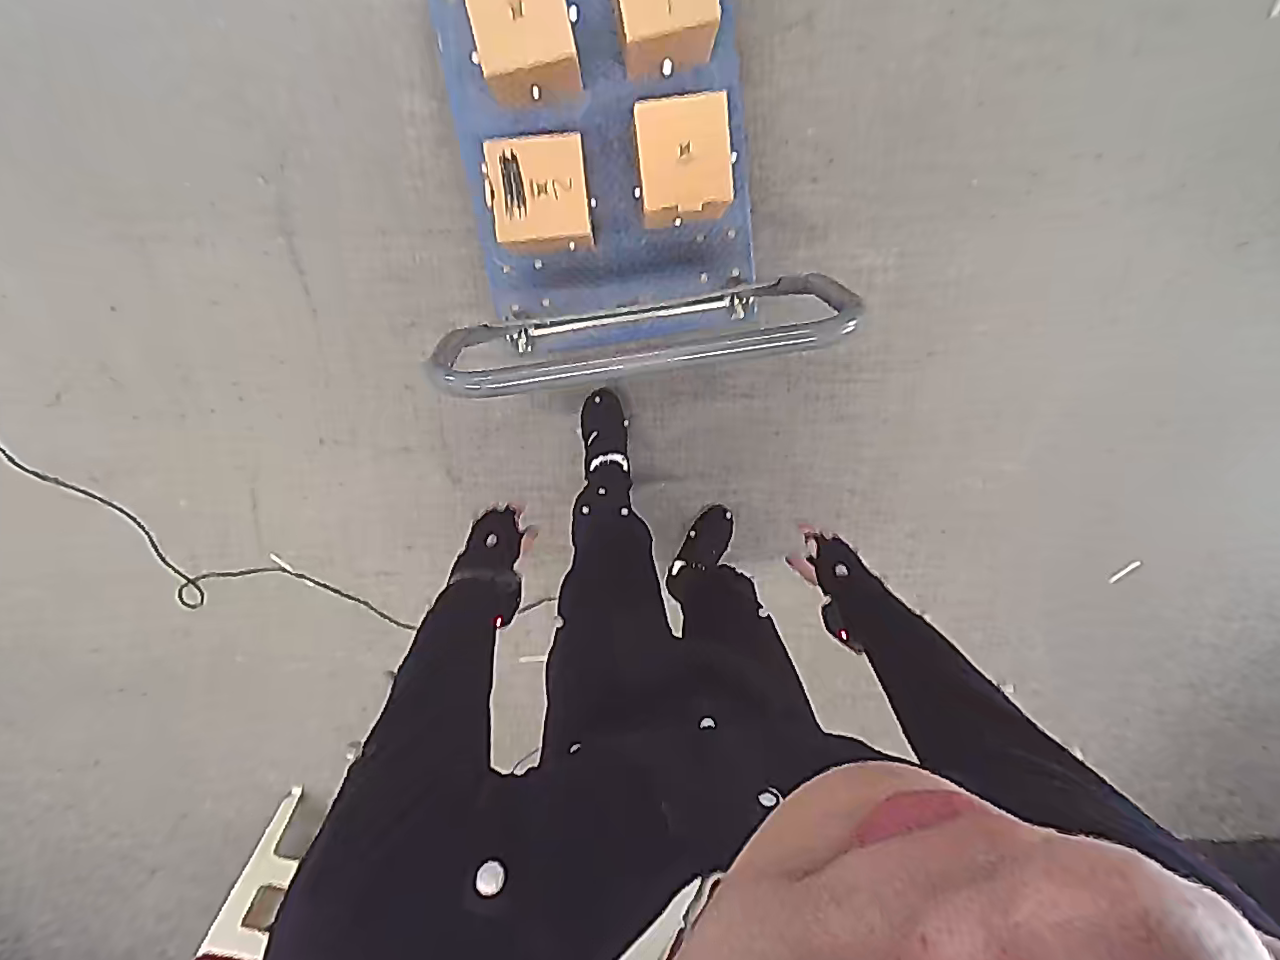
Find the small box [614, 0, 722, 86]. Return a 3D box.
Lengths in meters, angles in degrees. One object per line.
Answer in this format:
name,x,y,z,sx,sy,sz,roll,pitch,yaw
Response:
small box,0.042,-0.857,0.974,0.168,0.176,0.179,-11,107,3

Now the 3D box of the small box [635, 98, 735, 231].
small box,0.082,-0.600,1.048,0.168,0.176,0.179,-8,106,1

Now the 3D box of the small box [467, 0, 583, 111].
small box,-0.204,-0.805,0.984,0.168,0.176,0.179,-12,105,1
